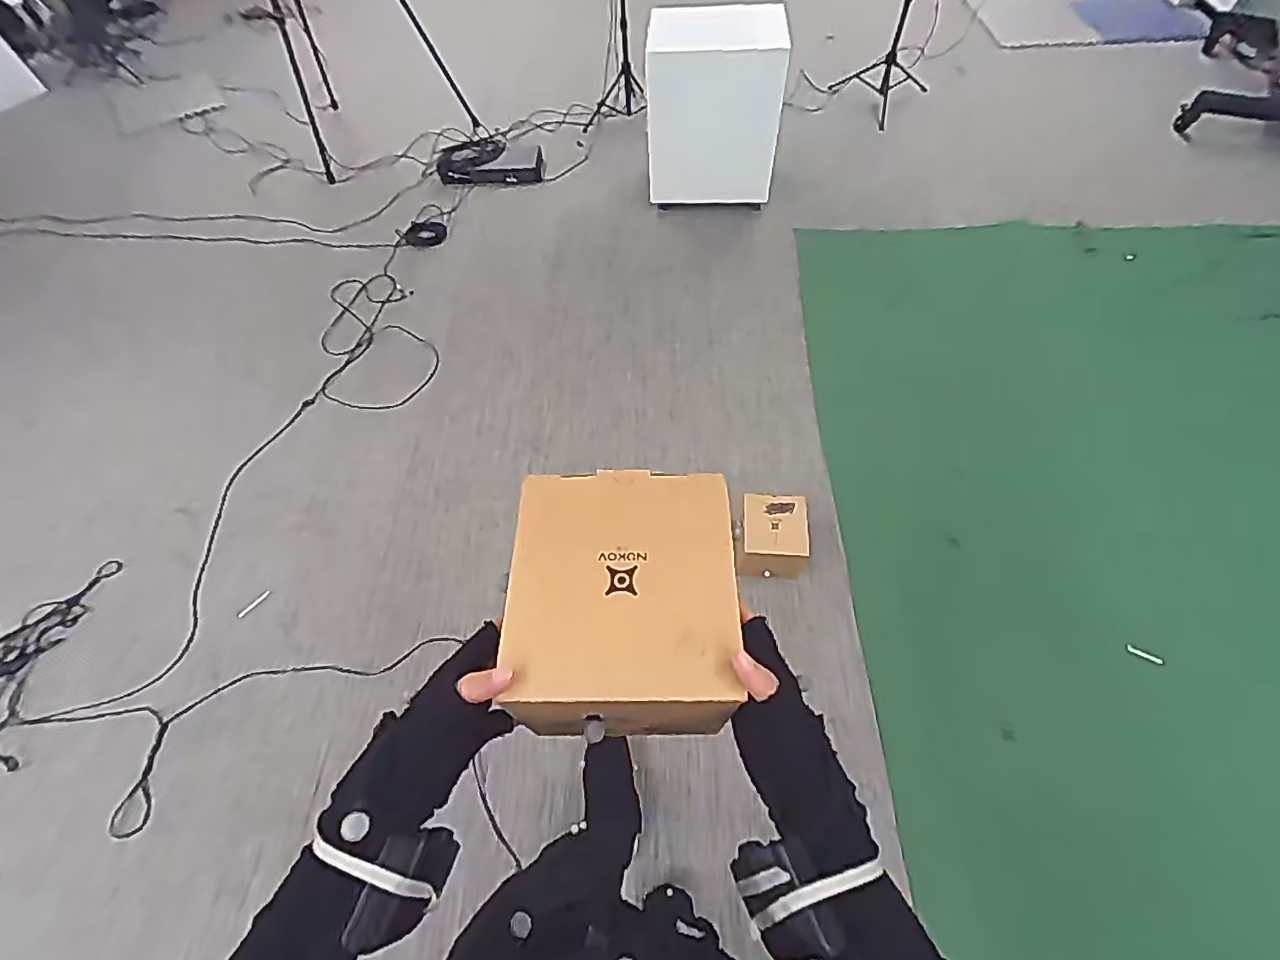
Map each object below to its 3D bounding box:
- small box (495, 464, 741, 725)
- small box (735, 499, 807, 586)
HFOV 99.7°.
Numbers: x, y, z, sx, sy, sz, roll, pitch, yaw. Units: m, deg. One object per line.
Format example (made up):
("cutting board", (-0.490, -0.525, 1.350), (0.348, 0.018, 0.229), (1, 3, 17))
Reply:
("small box", (-0.013, 0.105, 0.462), (0.168, 0.176, 0.179), (-1, 56, 0))
("small box", (0.351, 0.173, 1.480), (0.168, 0.176, 0.179), (3, 59, 5))
